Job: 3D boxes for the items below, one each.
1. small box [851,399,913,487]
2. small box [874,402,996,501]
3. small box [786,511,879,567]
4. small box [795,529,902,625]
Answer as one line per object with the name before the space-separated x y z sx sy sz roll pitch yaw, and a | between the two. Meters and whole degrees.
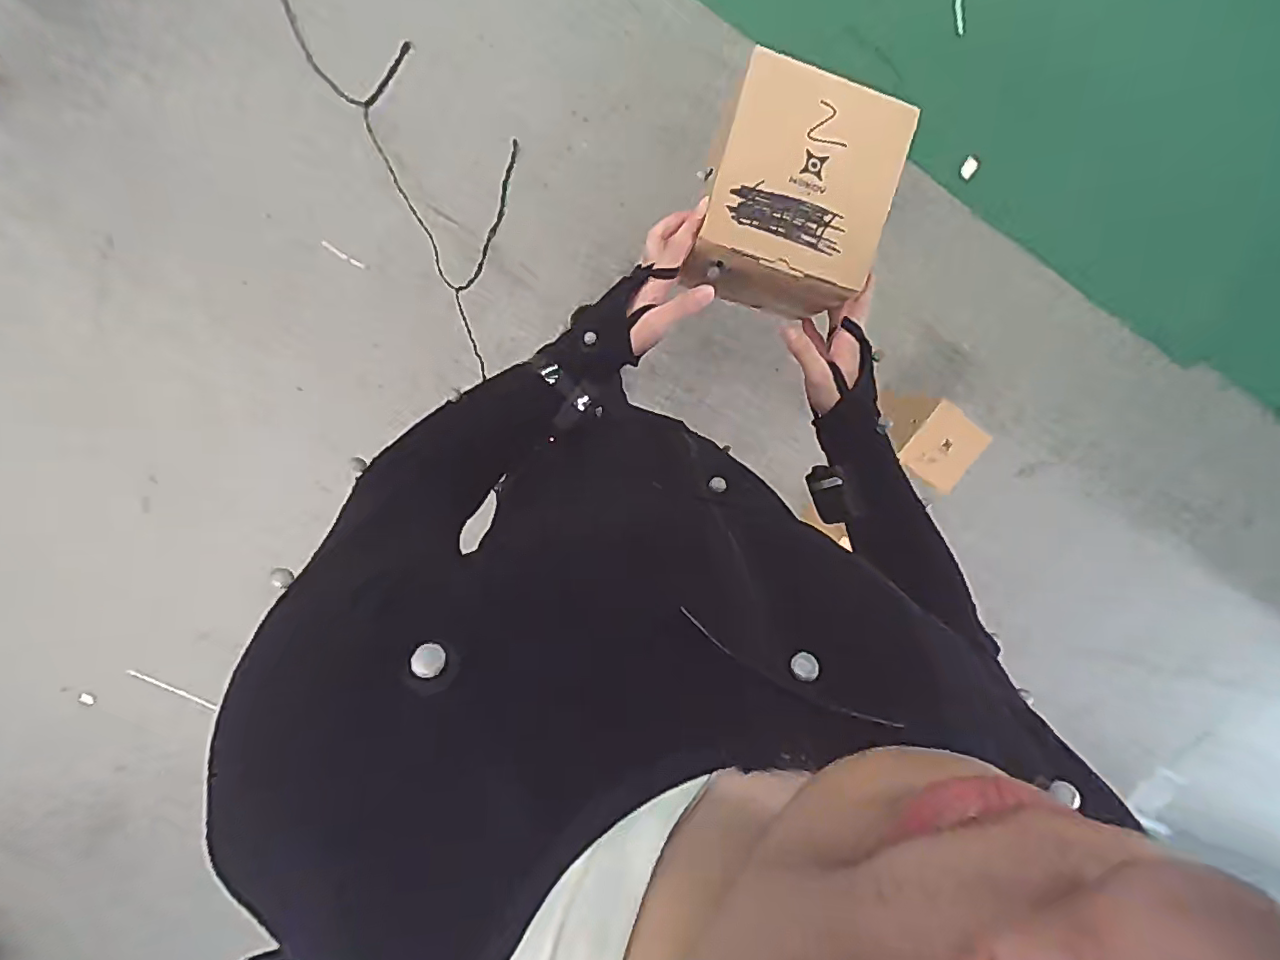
small box | 0.725 -0.111 1.529 0.168 0.176 0.179 34 101 -8
small box | 0.733 -0.080 1.367 0.168 0.176 0.179 35 101 -8
small box | 0.558 0.215 1.600 0.168 0.176 0.179 32 101 -8
small box | 0.544 0.249 1.442 0.179 0.176 0.168 28 101 -8
